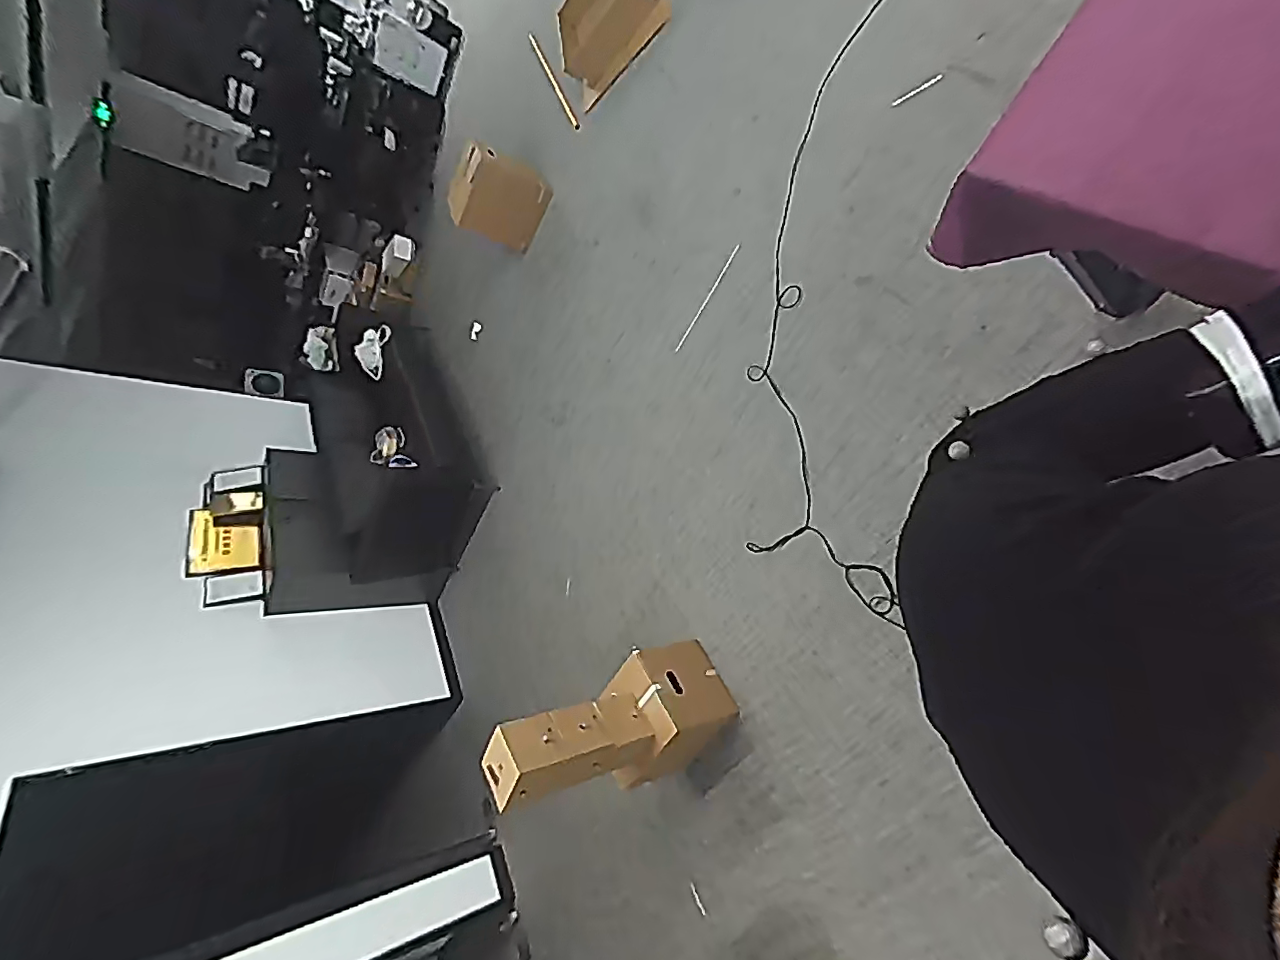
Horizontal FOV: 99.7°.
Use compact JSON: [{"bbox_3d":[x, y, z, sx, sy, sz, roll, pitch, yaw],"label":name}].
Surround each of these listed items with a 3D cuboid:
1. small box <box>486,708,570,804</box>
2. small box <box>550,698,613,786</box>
[{"bbox_3d":[-0.332,0.816,1.609,0.168,0.176,0.179,45,119,41],"label":"small box"},{"bbox_3d":[-0.207,0.824,1.718,0.168,0.176,0.179,46,119,41],"label":"small box"}]
